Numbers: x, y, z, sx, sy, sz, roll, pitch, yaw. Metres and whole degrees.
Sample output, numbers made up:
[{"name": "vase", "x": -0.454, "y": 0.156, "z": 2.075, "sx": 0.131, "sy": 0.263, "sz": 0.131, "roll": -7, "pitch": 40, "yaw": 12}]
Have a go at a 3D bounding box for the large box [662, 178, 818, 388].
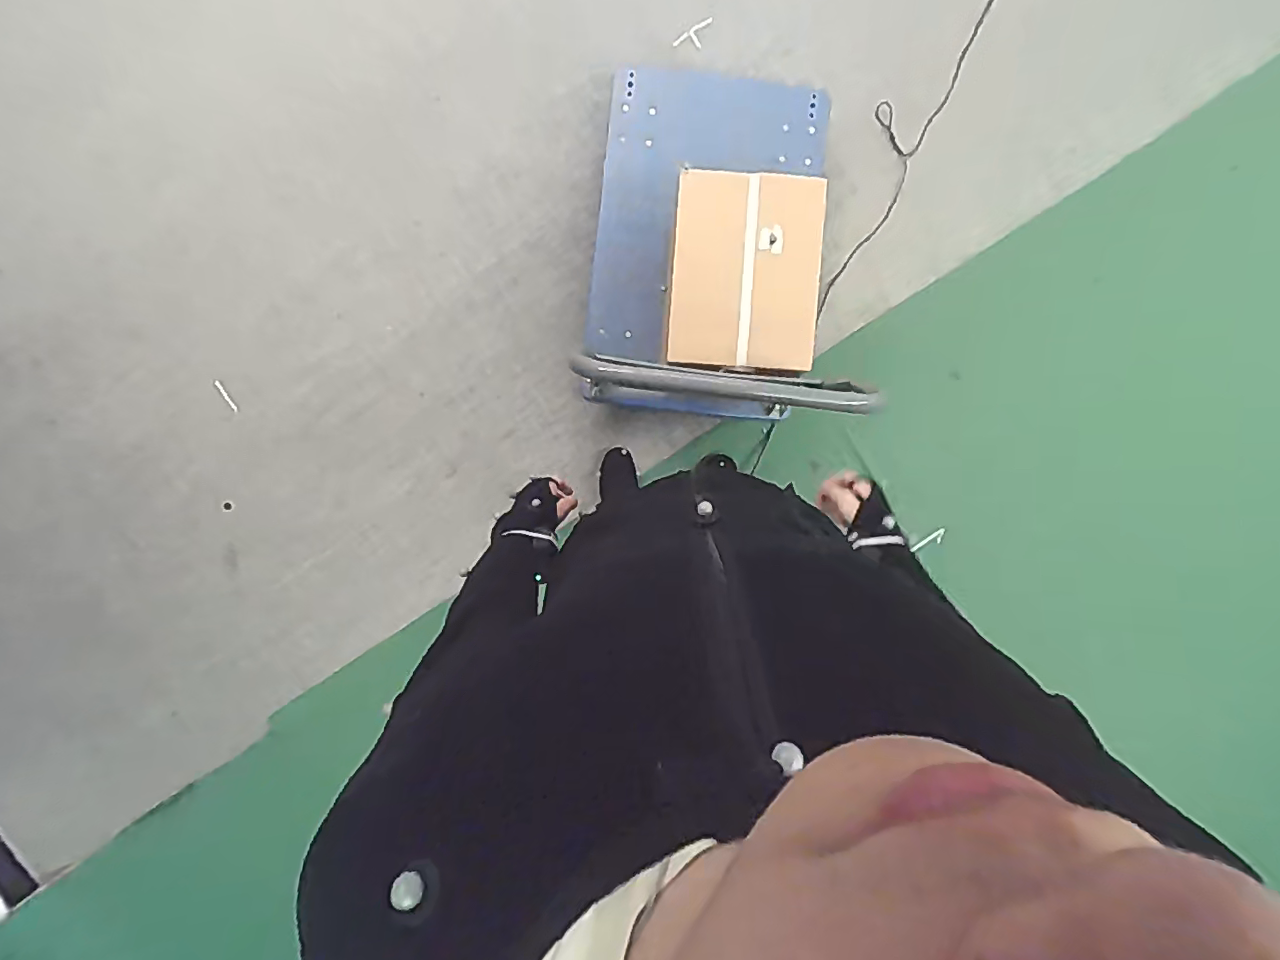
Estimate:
[{"name": "large box", "x": 0.220, "y": -0.446, "z": 1.314, "sx": 0.320, "sy": 0.320, "sz": 0.408, "roll": 4, "pitch": 92, "yaw": -1}]
